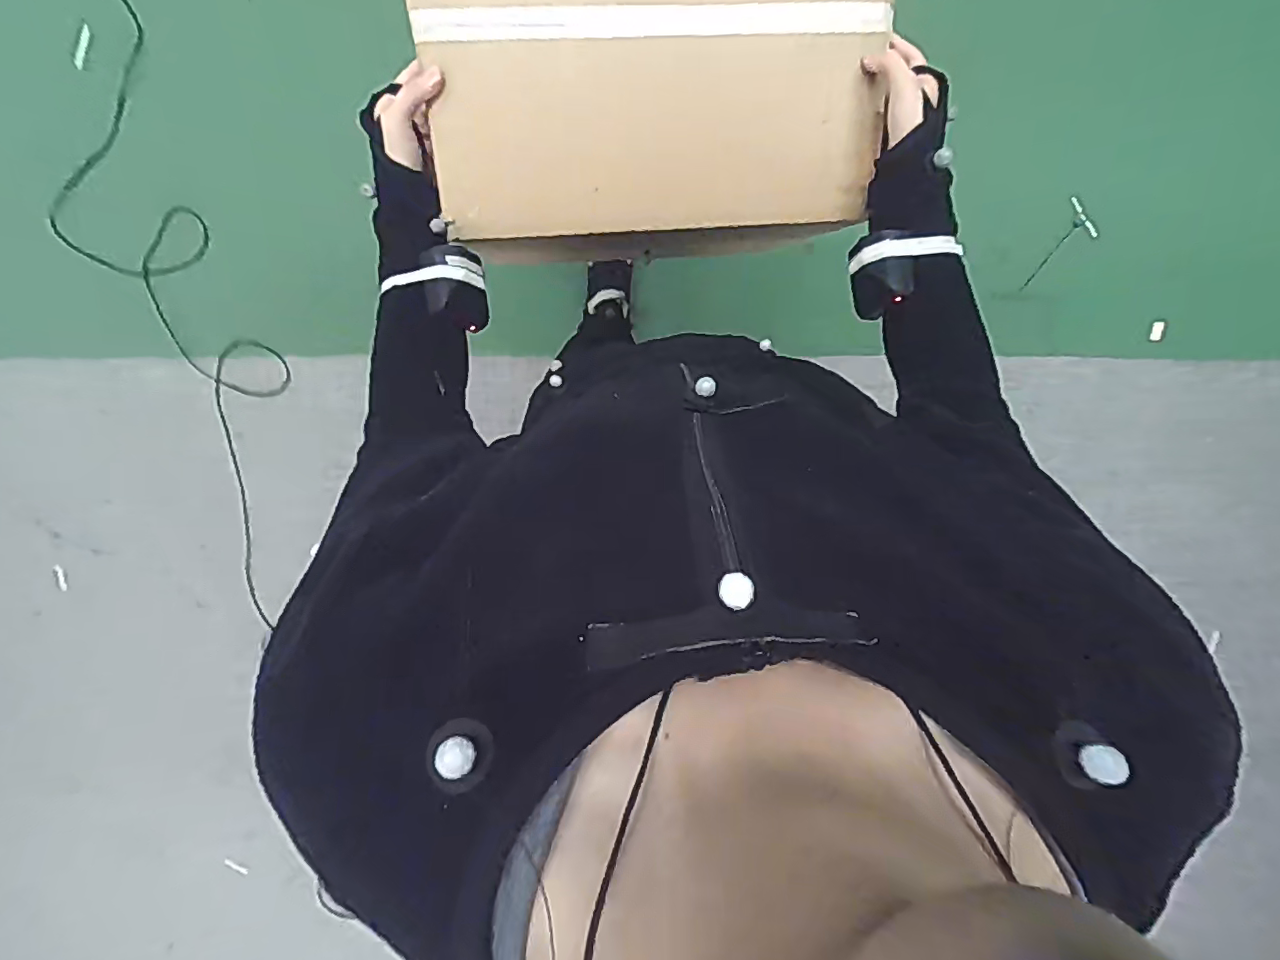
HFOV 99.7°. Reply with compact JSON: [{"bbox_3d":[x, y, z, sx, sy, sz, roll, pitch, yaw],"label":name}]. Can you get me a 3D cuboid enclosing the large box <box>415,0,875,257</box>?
[{"bbox_3d":[-0.003,-0.434,0.610,0.408,0.320,0.320,-4,108,-5],"label":"large box"}]
